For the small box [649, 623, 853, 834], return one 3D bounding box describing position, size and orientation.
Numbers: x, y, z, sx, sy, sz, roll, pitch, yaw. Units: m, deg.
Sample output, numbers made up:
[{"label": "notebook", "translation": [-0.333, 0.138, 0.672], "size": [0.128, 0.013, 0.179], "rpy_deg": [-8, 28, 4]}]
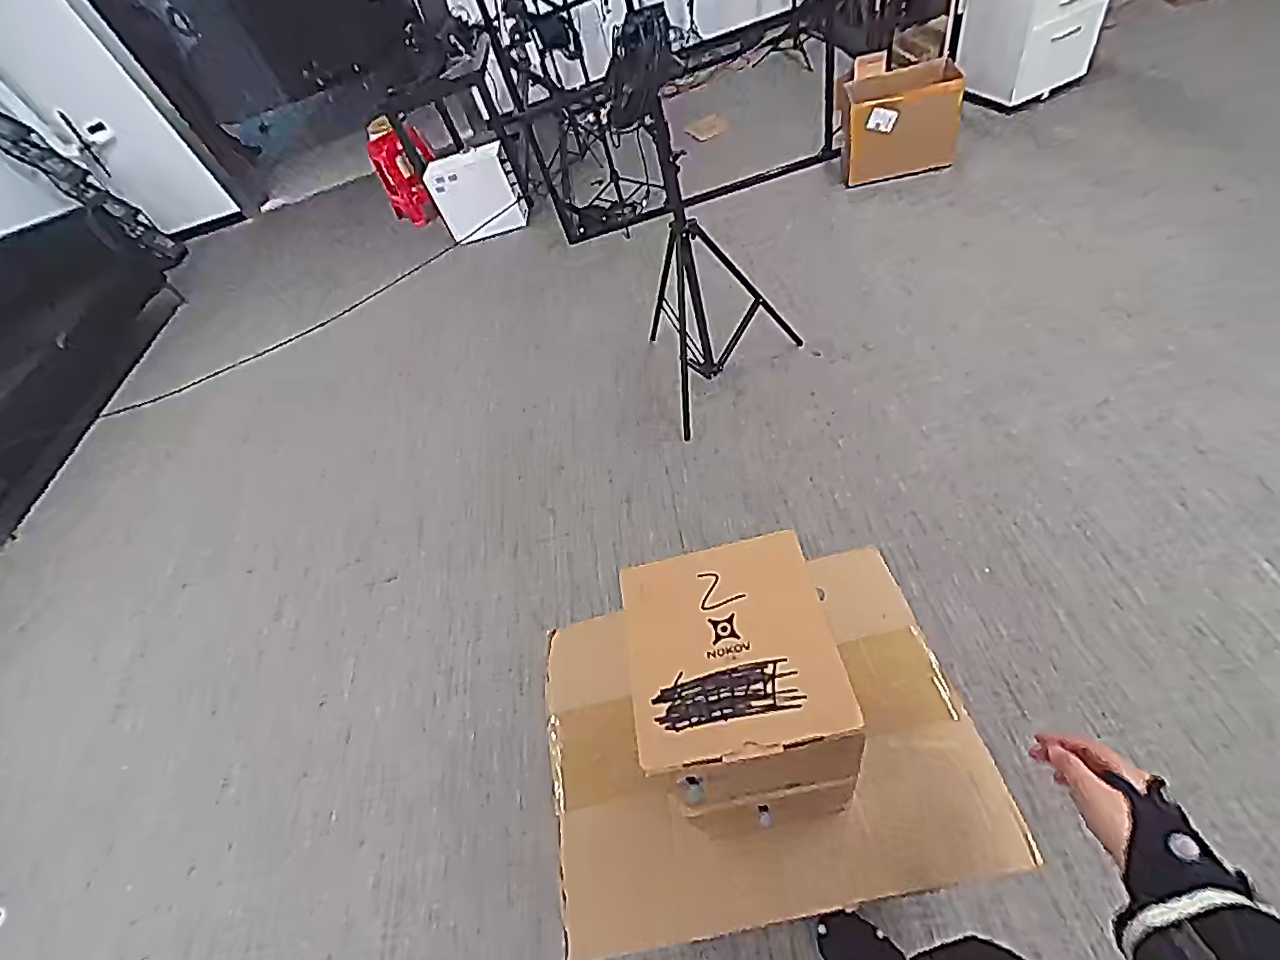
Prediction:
[{"label": "small box", "translation": [0.122, 0.289, 0.619], "size": [0.179, 0.176, 0.168], "rpy_deg": [-16, 50, 6]}]
